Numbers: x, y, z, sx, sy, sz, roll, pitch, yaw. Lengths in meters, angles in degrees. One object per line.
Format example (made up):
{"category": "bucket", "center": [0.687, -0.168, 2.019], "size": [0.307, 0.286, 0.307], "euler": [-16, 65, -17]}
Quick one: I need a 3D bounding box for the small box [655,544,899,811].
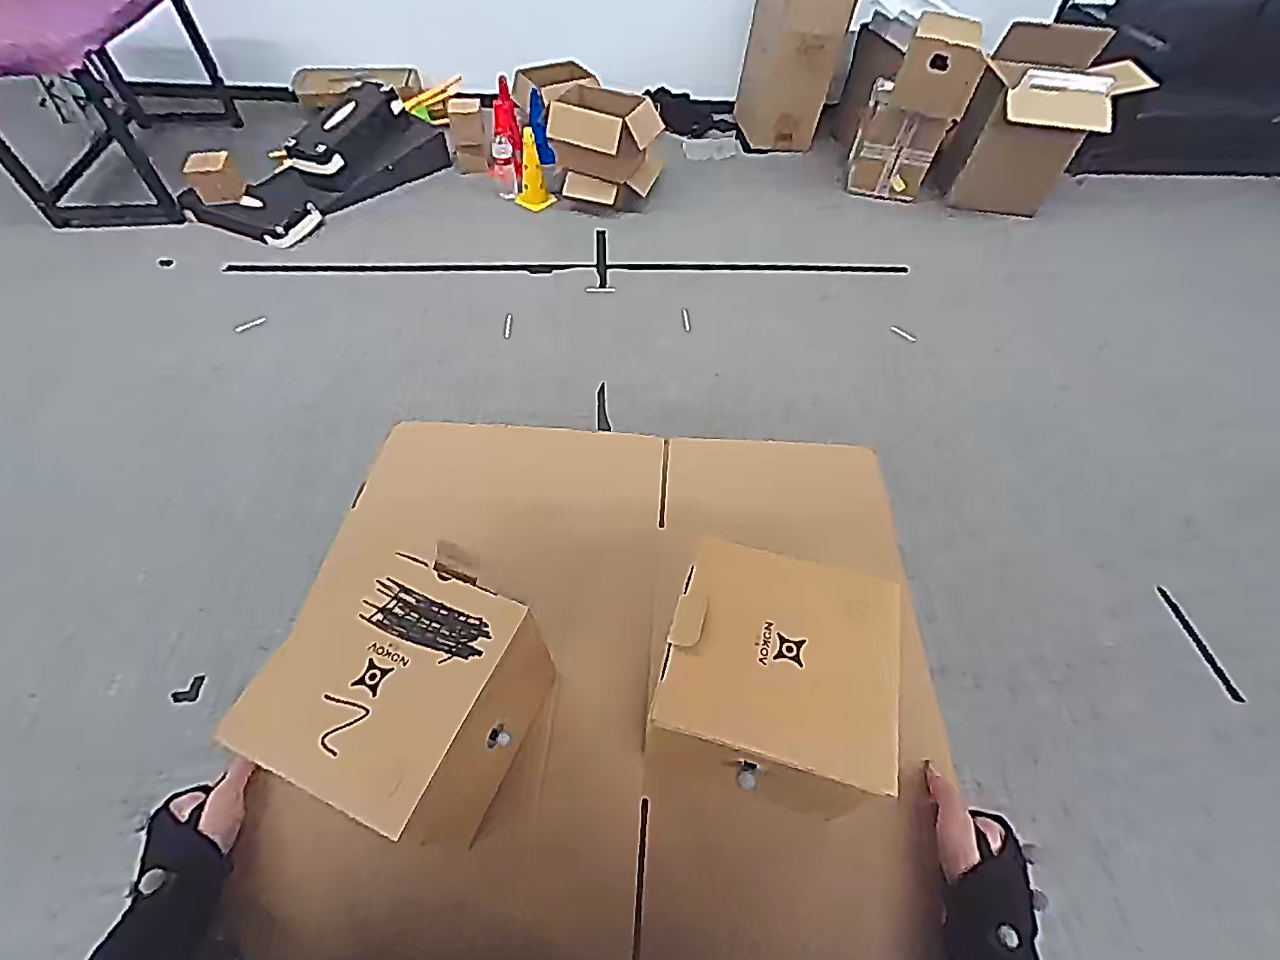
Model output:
{"category": "small box", "center": [0.119, 0.187, 0.500], "size": [0.179, 0.176, 0.168], "euler": [12, 54, 12]}
